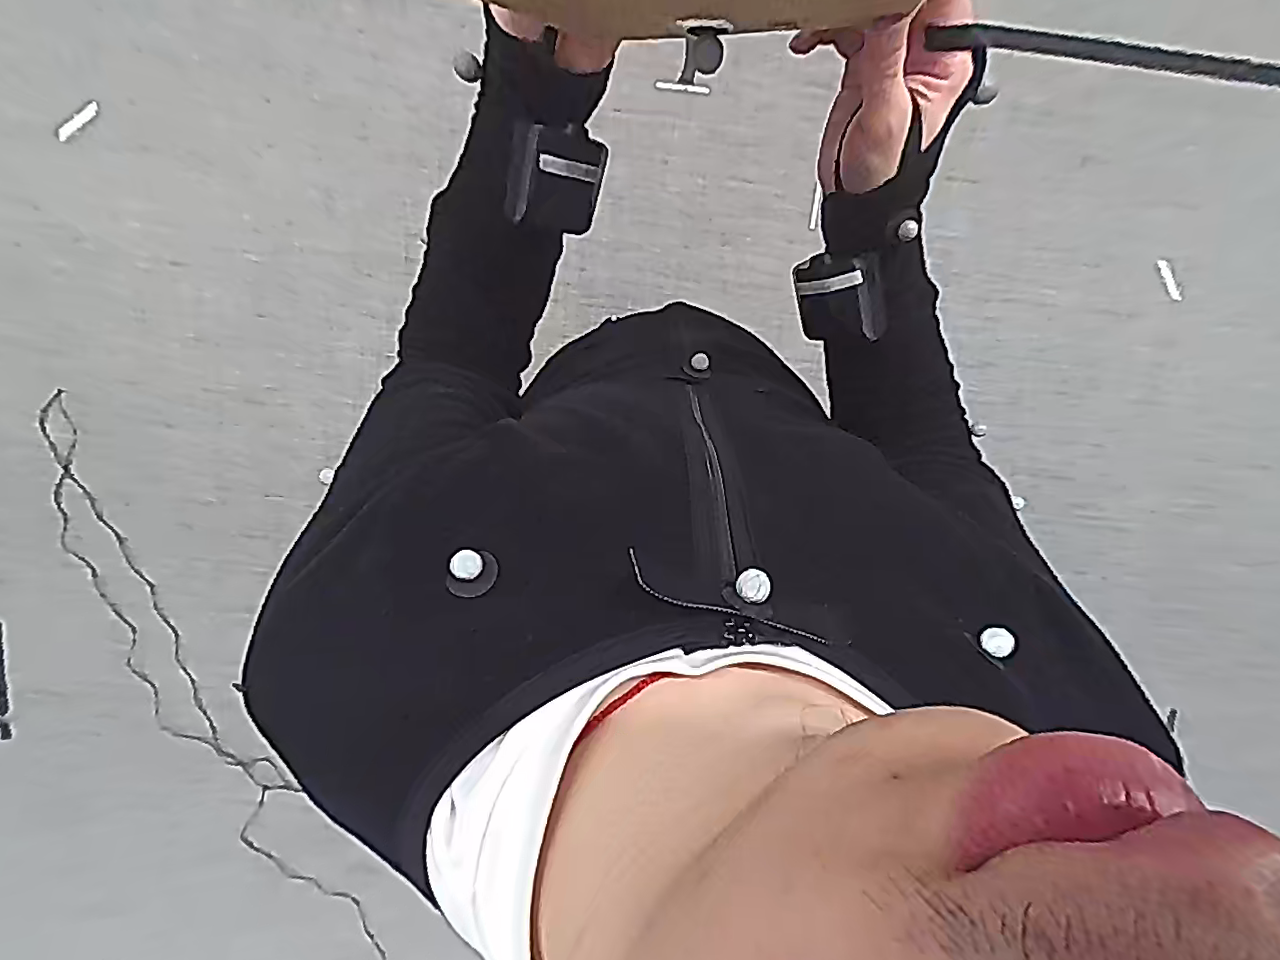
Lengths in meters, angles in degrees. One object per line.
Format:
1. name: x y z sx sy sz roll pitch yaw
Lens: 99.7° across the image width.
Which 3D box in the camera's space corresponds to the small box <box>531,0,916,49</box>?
1. small box: 0.033 -0.274 0.187 0.168 0.176 0.179 8 125 15
